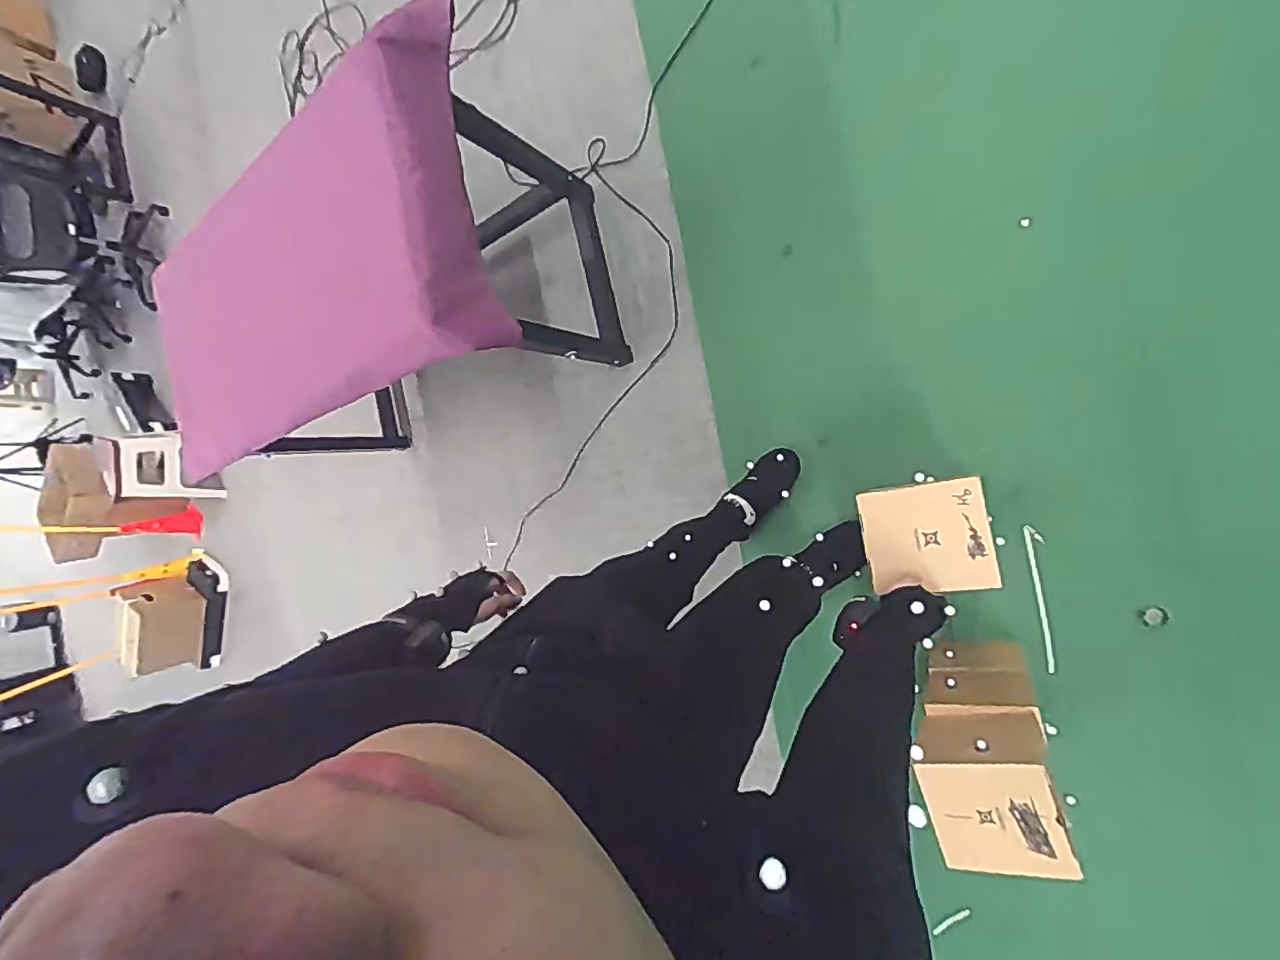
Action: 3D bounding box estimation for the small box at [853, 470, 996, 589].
[{"bbox_3d":[0.469,0.079,0.888,0.179,0.176,0.168,-11,87,32],"label":"small box"}]

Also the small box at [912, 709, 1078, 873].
[{"bbox_3d":[0.562,0.486,0.870,0.179,0.176,0.168,-20,85,33],"label":"small box"}]

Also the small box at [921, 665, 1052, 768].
[{"bbox_3d":[0.645,0.456,1.008,0.179,0.176,0.168,-13,89,32],"label":"small box"}]
